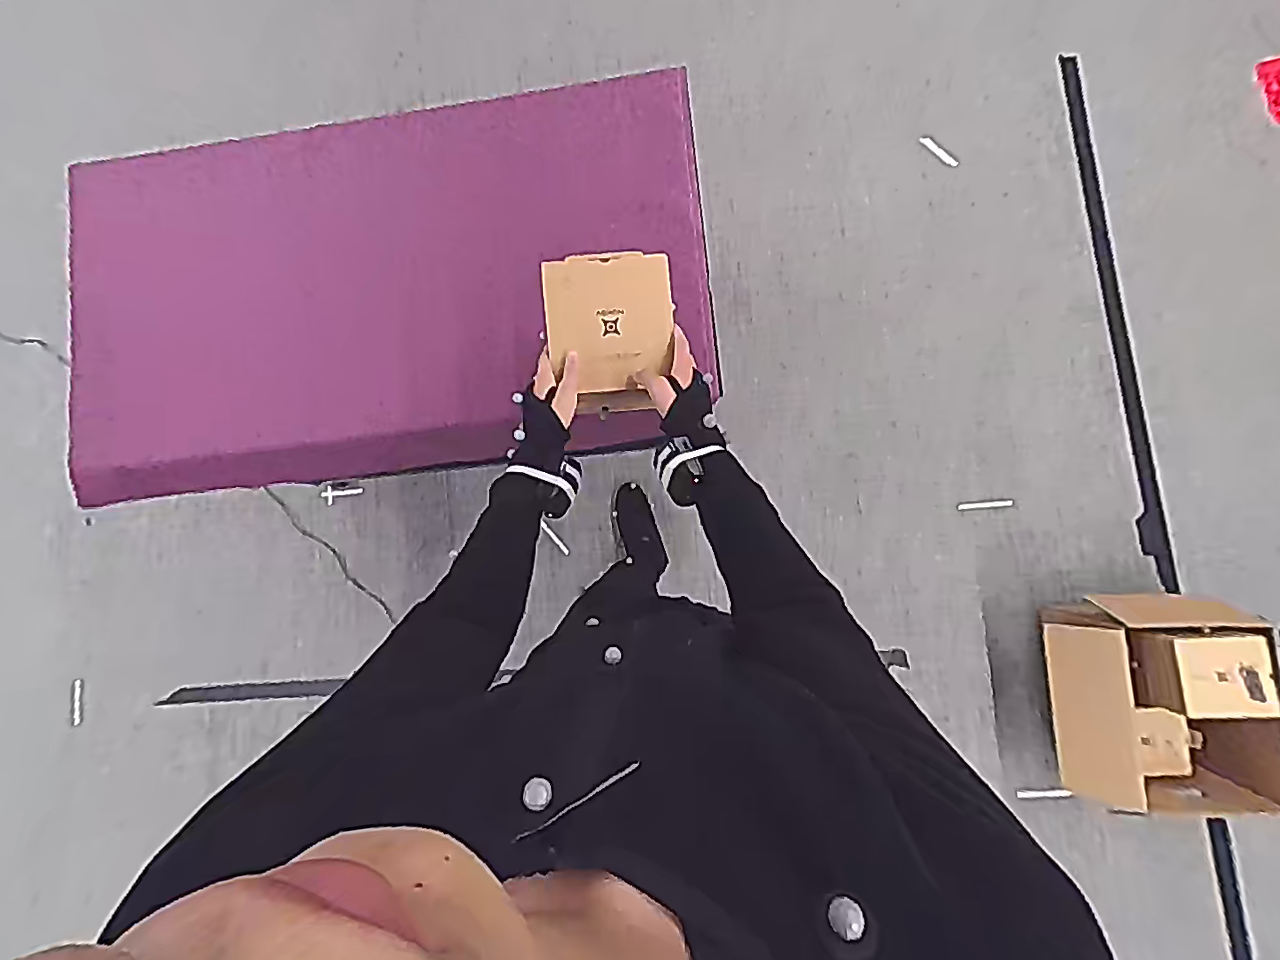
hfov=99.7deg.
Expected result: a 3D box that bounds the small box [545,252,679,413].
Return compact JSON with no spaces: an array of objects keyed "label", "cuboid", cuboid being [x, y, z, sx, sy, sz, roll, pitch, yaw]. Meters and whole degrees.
[{"label":"small box","cuboid":[-0.042,-0.200,0.771,0.168,0.176,0.179,-5,88,-4]}]
